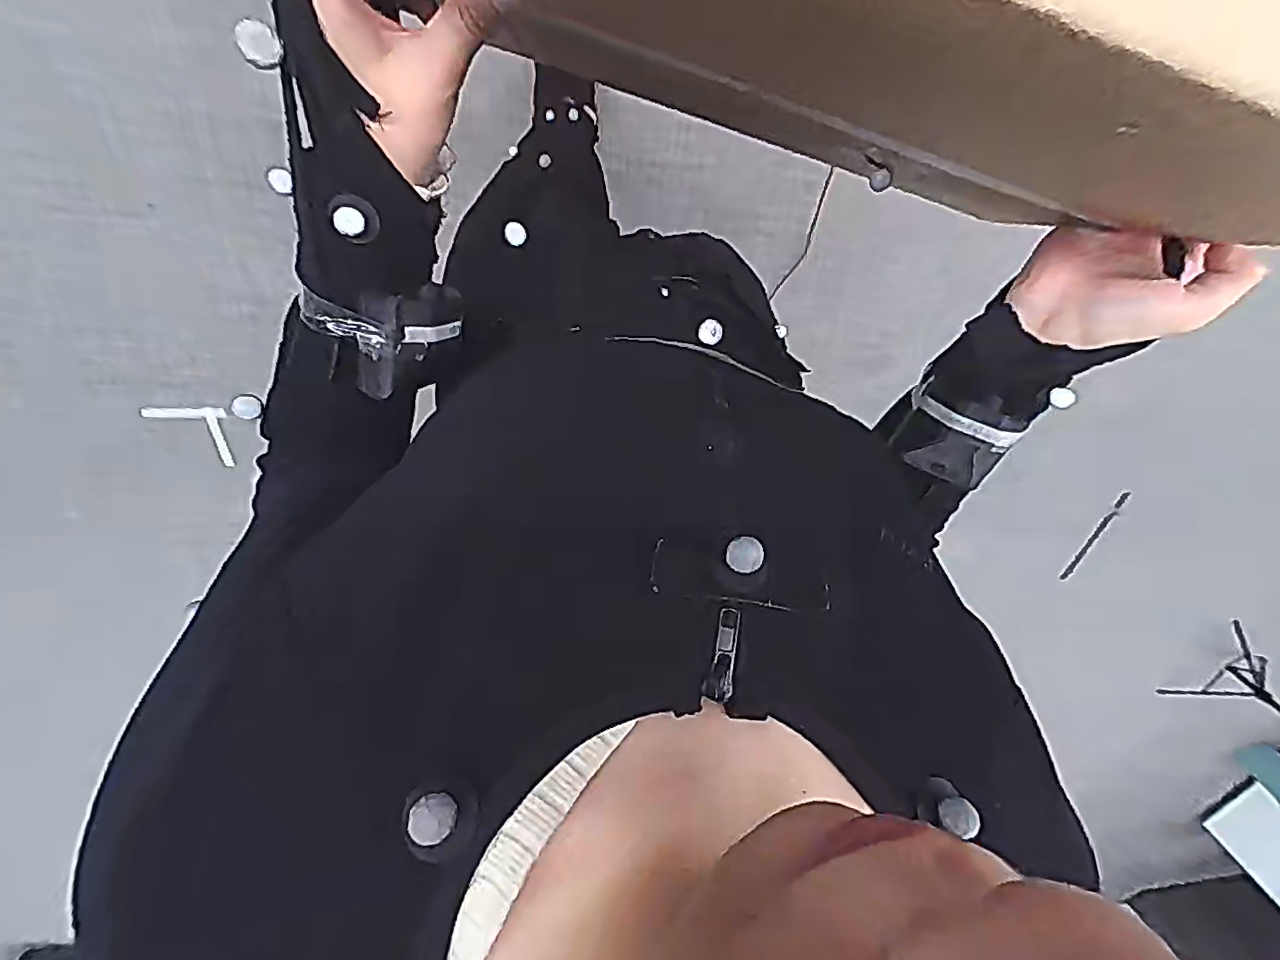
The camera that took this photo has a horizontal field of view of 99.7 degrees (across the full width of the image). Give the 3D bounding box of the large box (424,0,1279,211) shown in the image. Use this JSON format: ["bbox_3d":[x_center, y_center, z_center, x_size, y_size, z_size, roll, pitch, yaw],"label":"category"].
[{"bbox_3d":[0.111,-0.317,0.180,0.408,0.320,0.320,12,119,-9],"label":"large box"}]
